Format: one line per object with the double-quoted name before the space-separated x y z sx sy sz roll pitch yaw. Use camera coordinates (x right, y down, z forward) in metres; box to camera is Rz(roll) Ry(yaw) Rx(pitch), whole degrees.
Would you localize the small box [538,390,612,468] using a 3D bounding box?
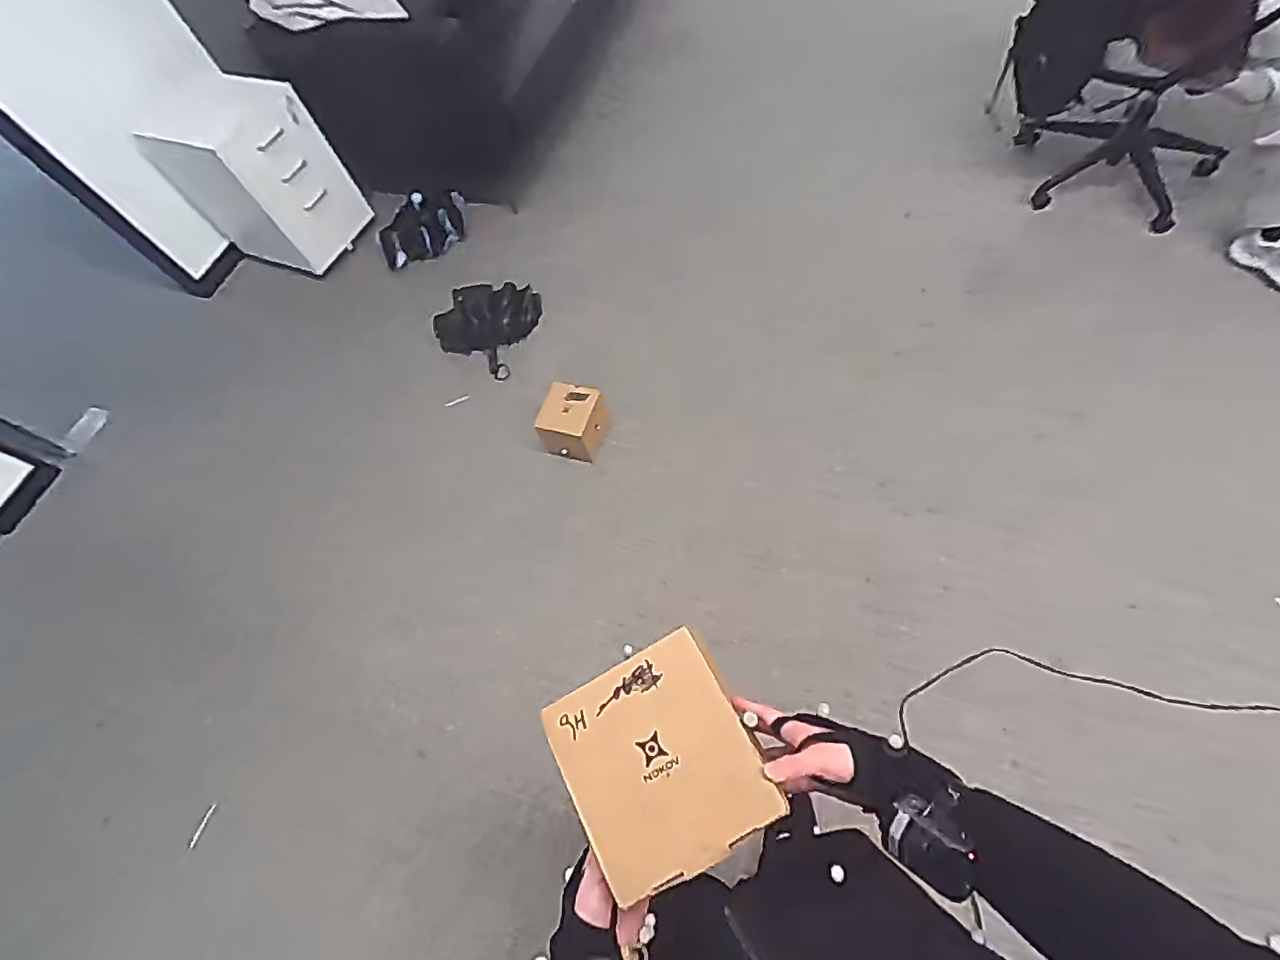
"small box" -0.203 -0.165 1.767 0.168 0.176 0.179 13 67 17
